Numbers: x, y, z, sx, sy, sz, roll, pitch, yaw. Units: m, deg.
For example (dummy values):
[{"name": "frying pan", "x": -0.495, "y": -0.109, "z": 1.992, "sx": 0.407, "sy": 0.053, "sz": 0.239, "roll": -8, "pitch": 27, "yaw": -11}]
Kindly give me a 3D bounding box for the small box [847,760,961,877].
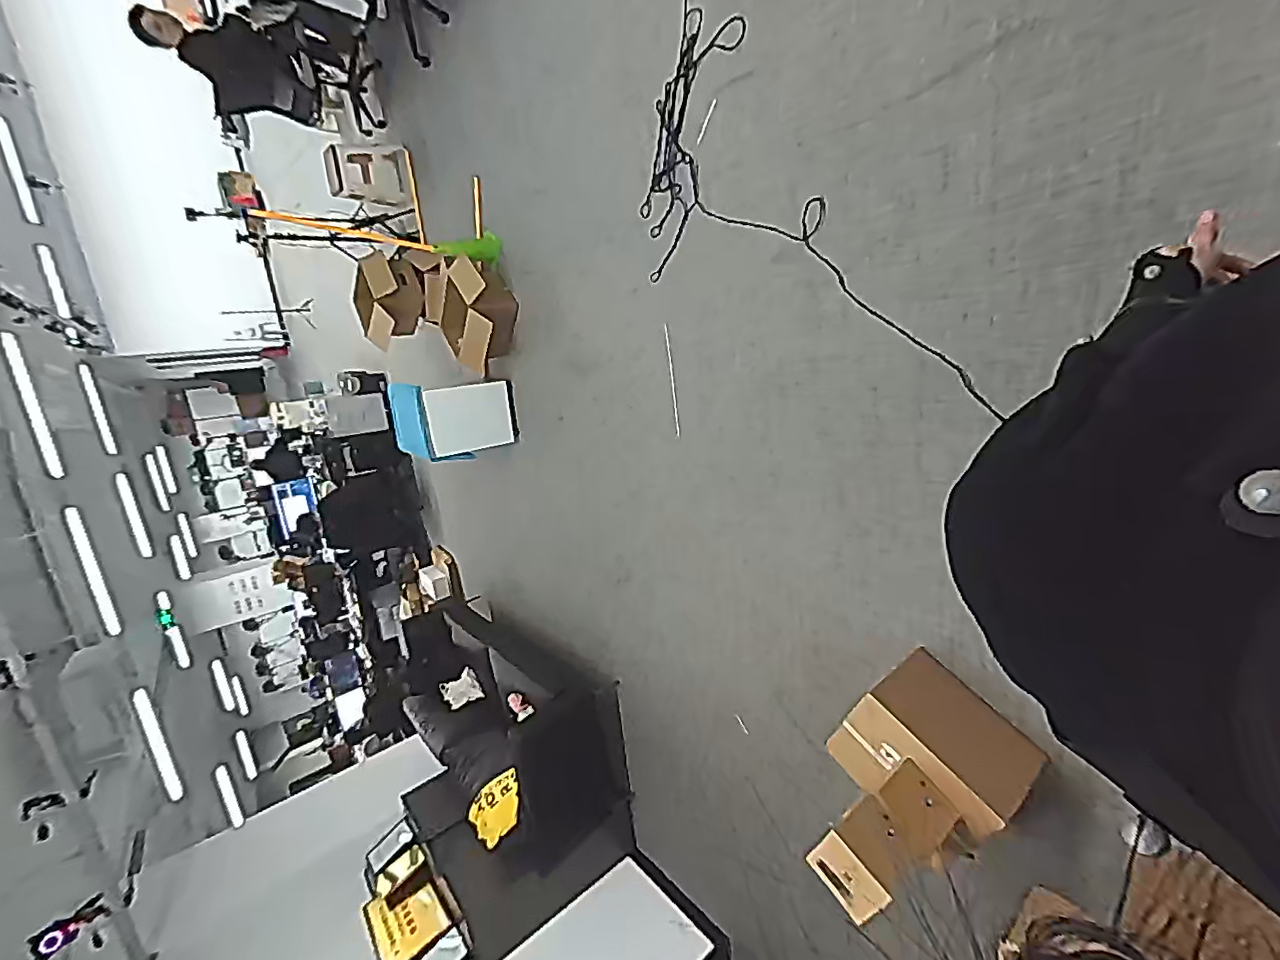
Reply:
[{"name": "small box", "x": 0.681, "y": 0.867, "z": 1.393, "sx": 0.168, "sy": 0.176, "sz": 0.179, "roll": 48, "pitch": 137, "yaw": 32}]
